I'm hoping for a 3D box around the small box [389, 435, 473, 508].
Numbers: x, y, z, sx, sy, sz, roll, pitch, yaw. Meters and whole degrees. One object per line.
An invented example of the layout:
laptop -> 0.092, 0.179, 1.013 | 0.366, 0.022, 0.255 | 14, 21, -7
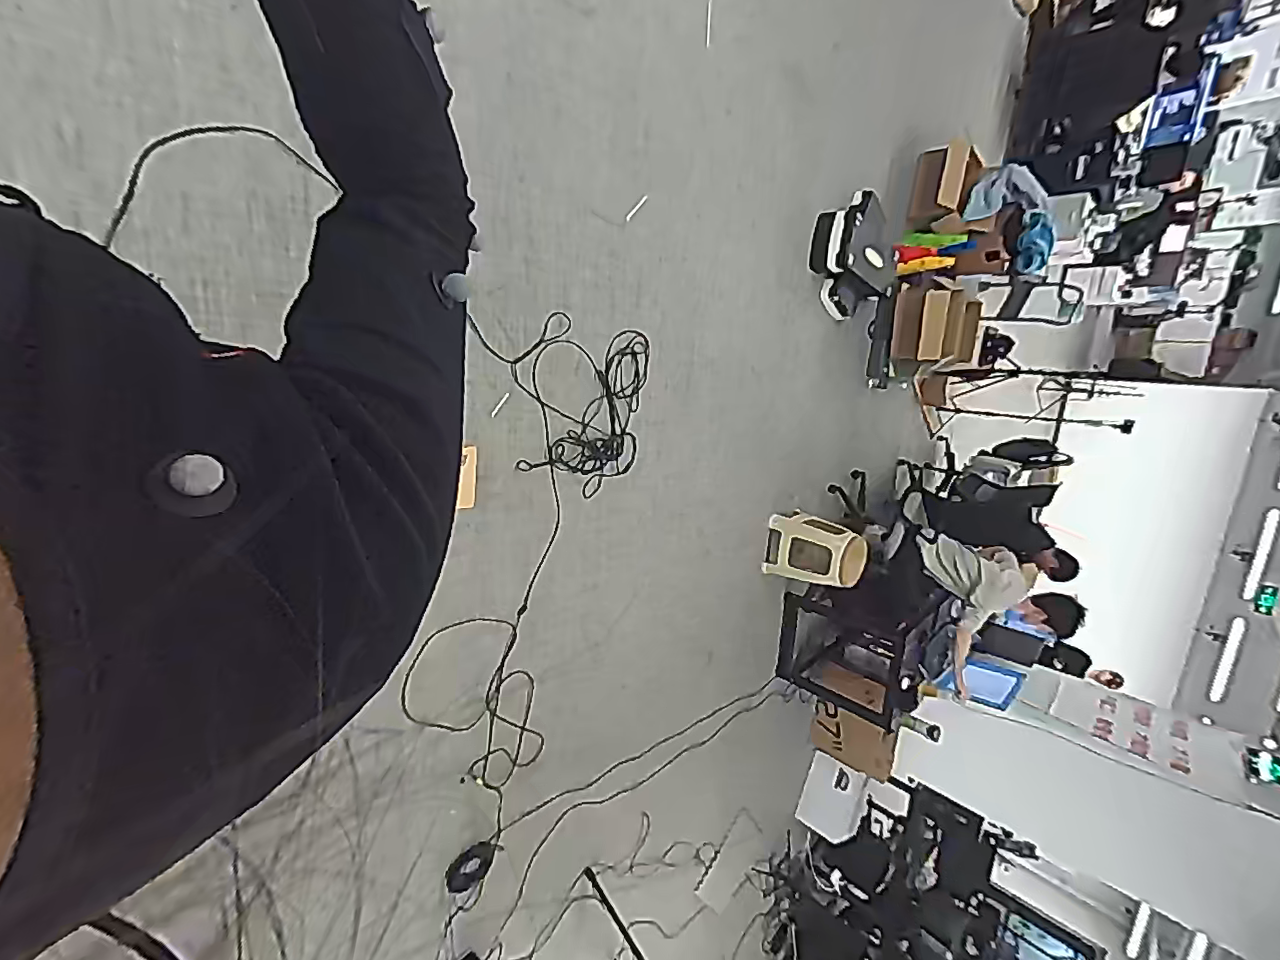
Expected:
small box -> -0.581, -0.031, 1.498 | 0.168, 0.176, 0.179 | -5, 105, -46
